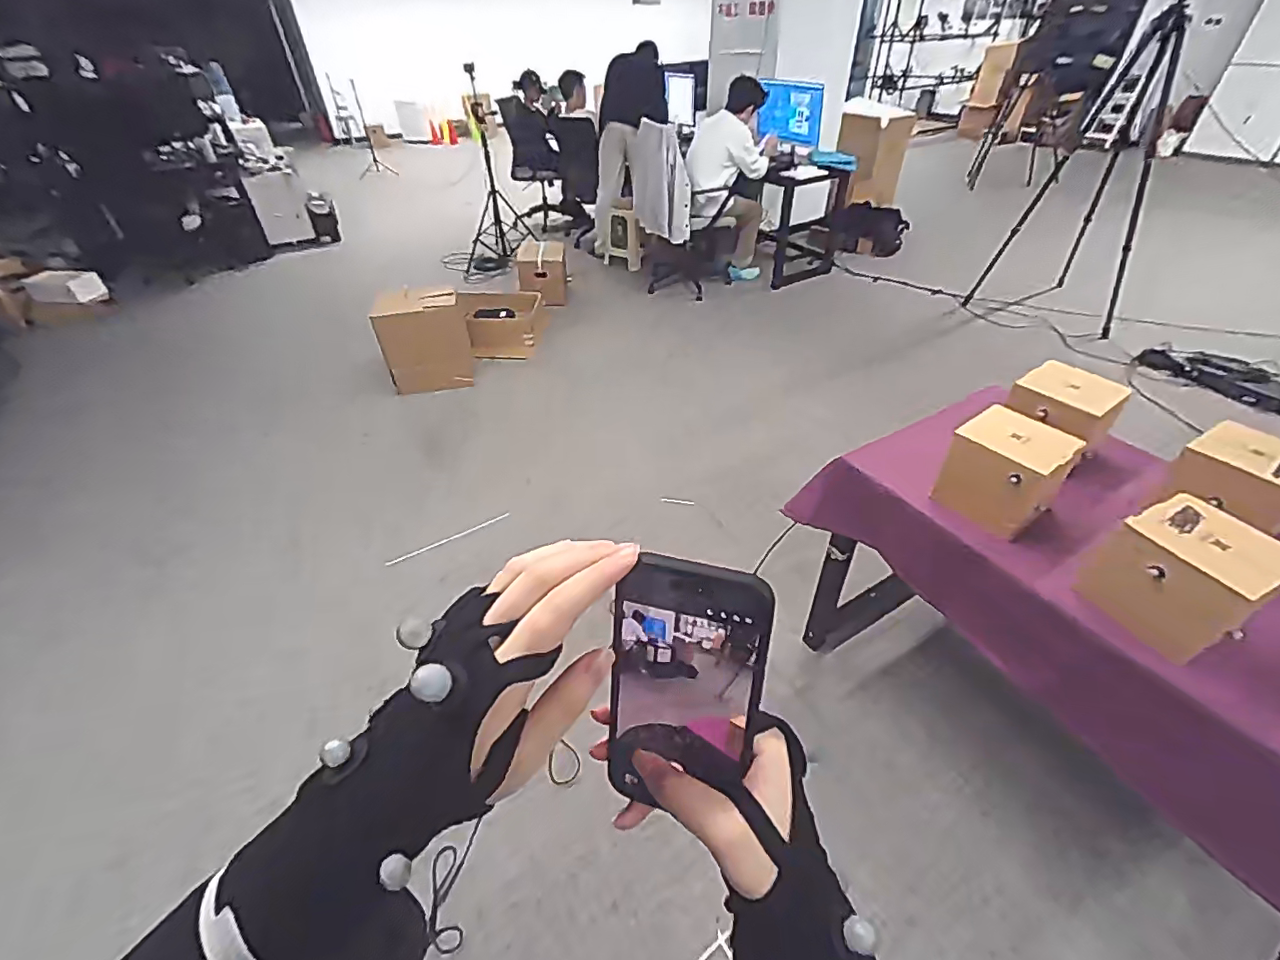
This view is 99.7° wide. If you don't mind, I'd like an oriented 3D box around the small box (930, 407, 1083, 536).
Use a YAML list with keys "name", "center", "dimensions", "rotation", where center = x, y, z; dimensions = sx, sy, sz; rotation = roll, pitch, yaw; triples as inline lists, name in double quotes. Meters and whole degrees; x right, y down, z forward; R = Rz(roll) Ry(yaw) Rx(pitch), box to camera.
- name: "small box"
  center: [0.729, -0.018, 1.096]
  dimensions: [0.168, 0.176, 0.179]
  rotation: [-26, 47, -27]

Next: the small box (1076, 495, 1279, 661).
- name: "small box"
  center: [0.876, 0.157, 0.881]
  dimensions: [0.168, 0.176, 0.179]
  rotation: [-17, 43, -18]
